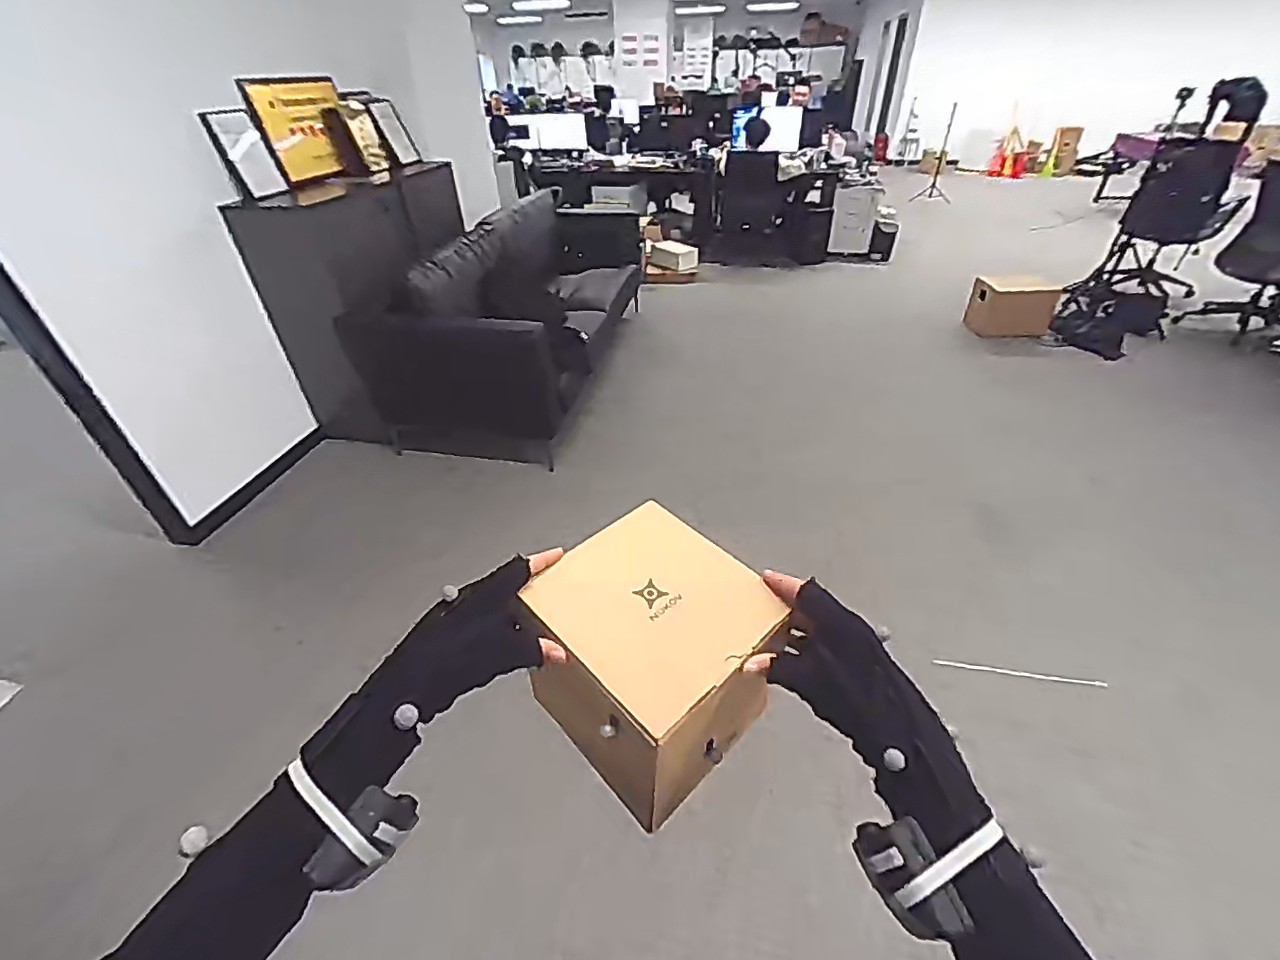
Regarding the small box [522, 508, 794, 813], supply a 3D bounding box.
[{"bbox_3d":[0.011,0.163,0.508,0.168,0.176,0.179,-30,50,-33],"label":"small box"}]
